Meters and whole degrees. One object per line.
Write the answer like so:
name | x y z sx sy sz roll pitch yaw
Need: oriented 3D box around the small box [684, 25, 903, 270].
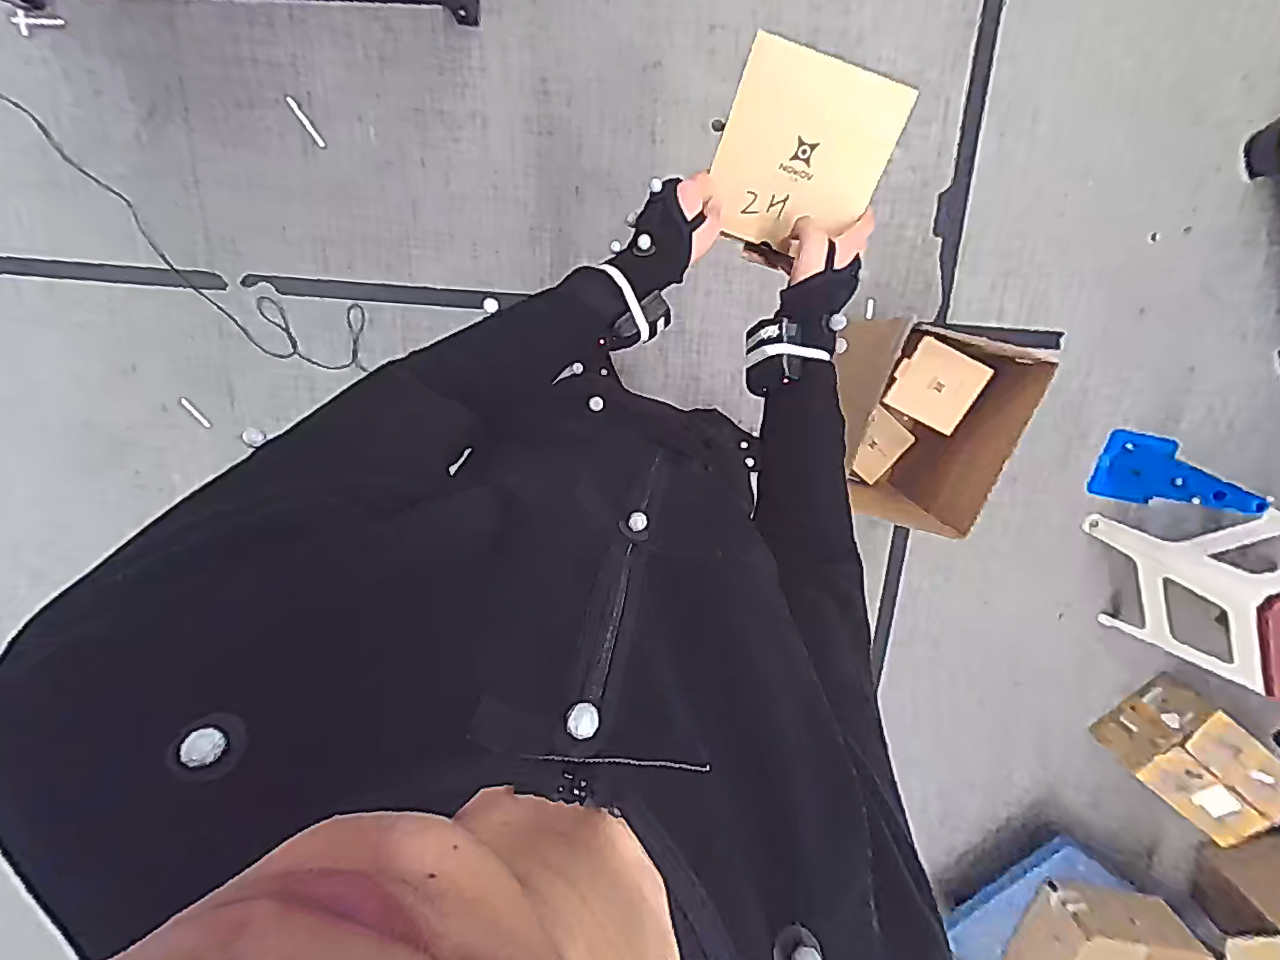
small box | 0.155 -0.357 0.615 0.168 0.176 0.179 19 115 -2
